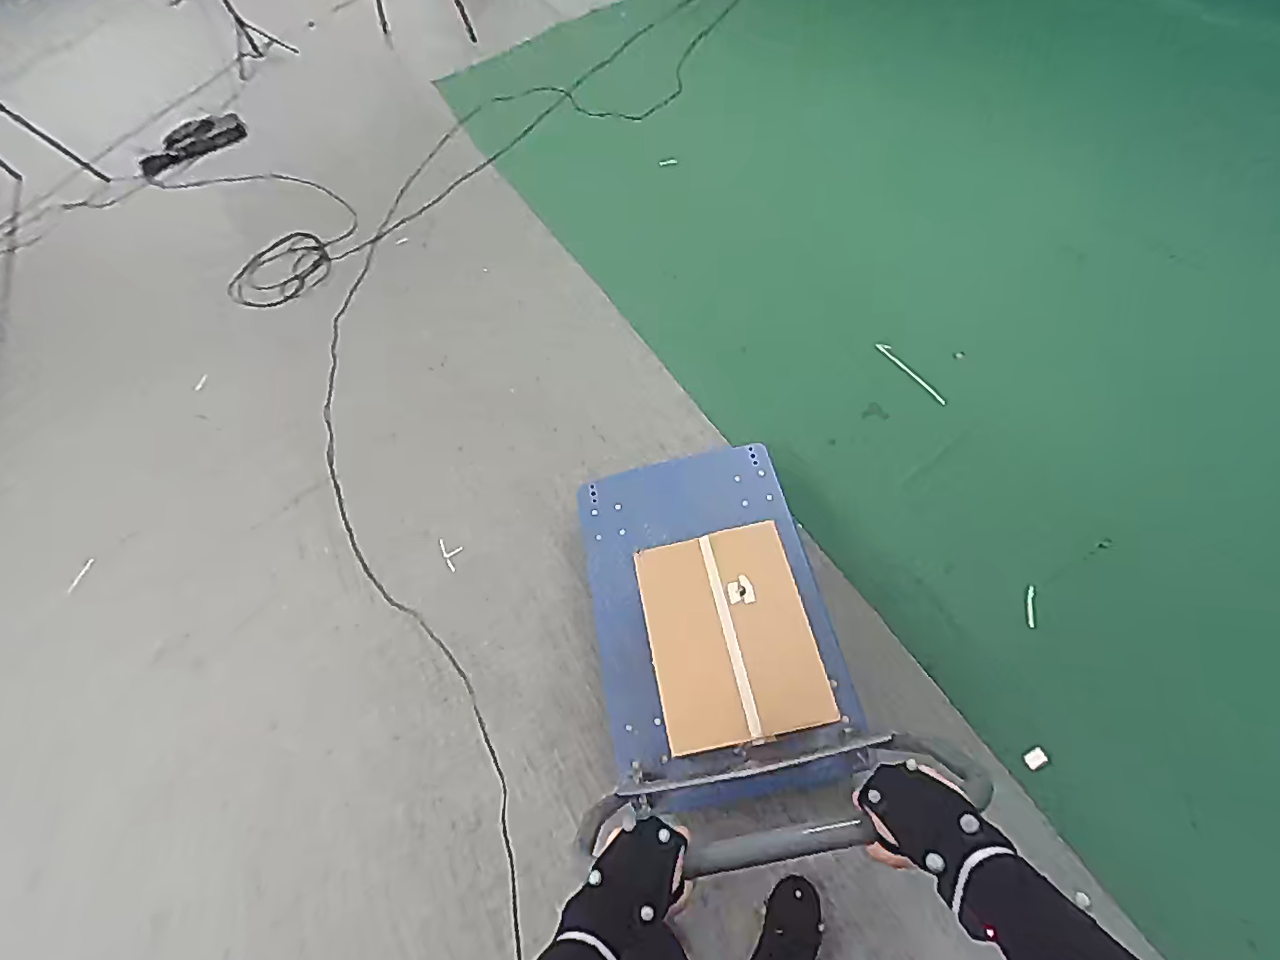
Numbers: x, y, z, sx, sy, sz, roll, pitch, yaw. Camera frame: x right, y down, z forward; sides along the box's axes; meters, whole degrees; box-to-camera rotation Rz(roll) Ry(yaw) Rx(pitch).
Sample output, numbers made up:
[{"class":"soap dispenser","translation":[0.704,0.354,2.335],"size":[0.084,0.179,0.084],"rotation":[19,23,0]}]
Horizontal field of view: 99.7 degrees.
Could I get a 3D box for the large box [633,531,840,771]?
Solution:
[{"class":"large box","translation":[0.195,0.384,1.193],"size":[0.320,0.320,0.408],"rotation":[-14,59,1]}]
